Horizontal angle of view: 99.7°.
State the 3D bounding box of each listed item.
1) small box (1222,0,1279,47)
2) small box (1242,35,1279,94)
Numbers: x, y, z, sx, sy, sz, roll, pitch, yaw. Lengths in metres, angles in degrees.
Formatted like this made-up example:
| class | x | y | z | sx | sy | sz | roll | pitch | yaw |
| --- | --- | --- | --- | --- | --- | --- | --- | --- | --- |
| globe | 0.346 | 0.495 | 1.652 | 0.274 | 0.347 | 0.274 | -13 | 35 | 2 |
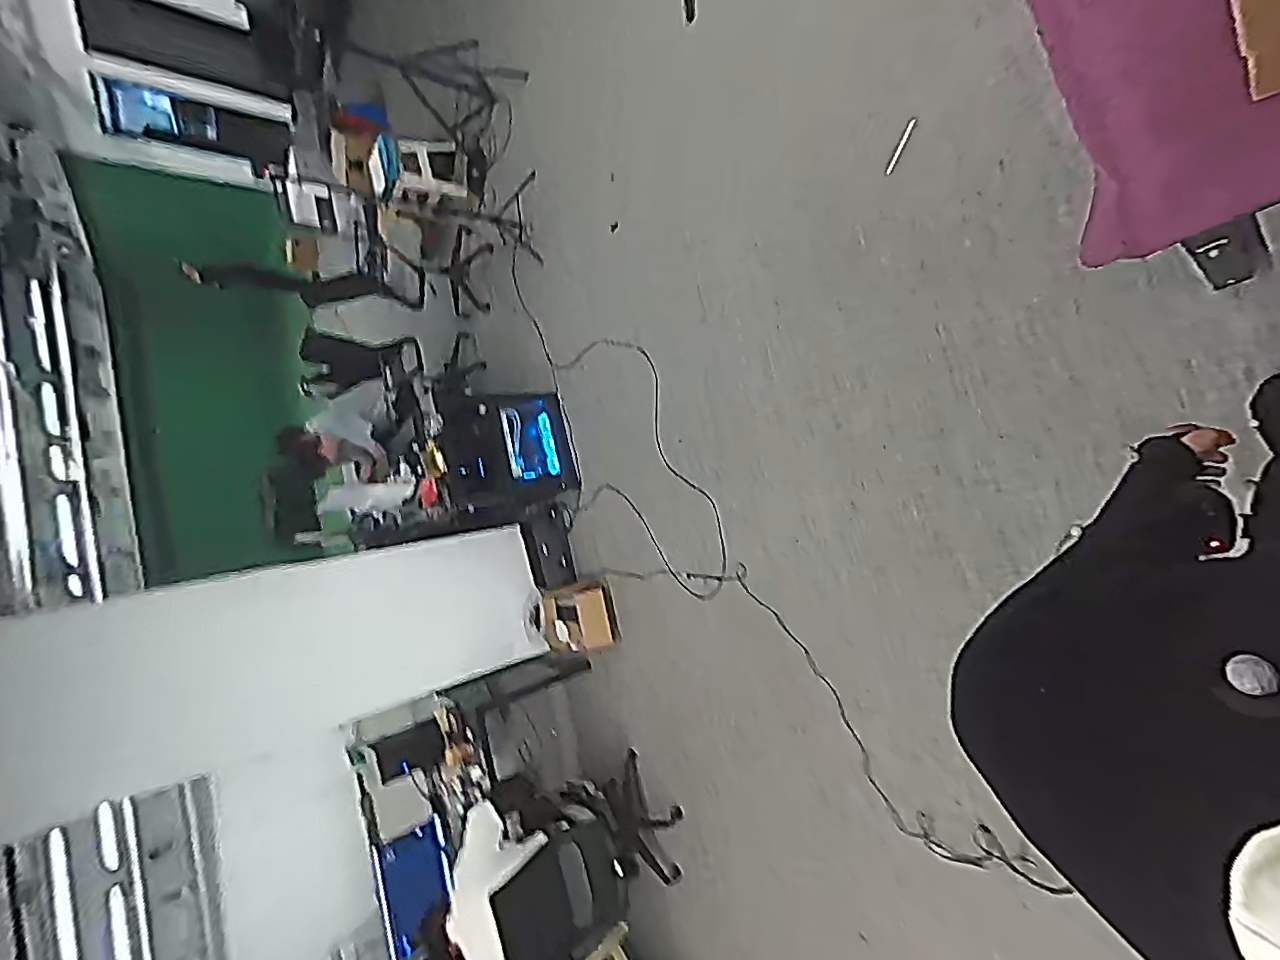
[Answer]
| class | x | y | z | sx | sy | sz | roll | pitch | yaw |
| --- | --- | --- | --- | --- | --- | --- | --- | --- | --- |
| small box | 0.520 | -0.460 | 0.375 | 0.179 | 0.176 | 0.168 | -10 | 90 | 51 |
| small box | 0.647 | -0.493 | 0.475 | 0.168 | 0.176 | 0.179 | -7 | 93 | 51 |
